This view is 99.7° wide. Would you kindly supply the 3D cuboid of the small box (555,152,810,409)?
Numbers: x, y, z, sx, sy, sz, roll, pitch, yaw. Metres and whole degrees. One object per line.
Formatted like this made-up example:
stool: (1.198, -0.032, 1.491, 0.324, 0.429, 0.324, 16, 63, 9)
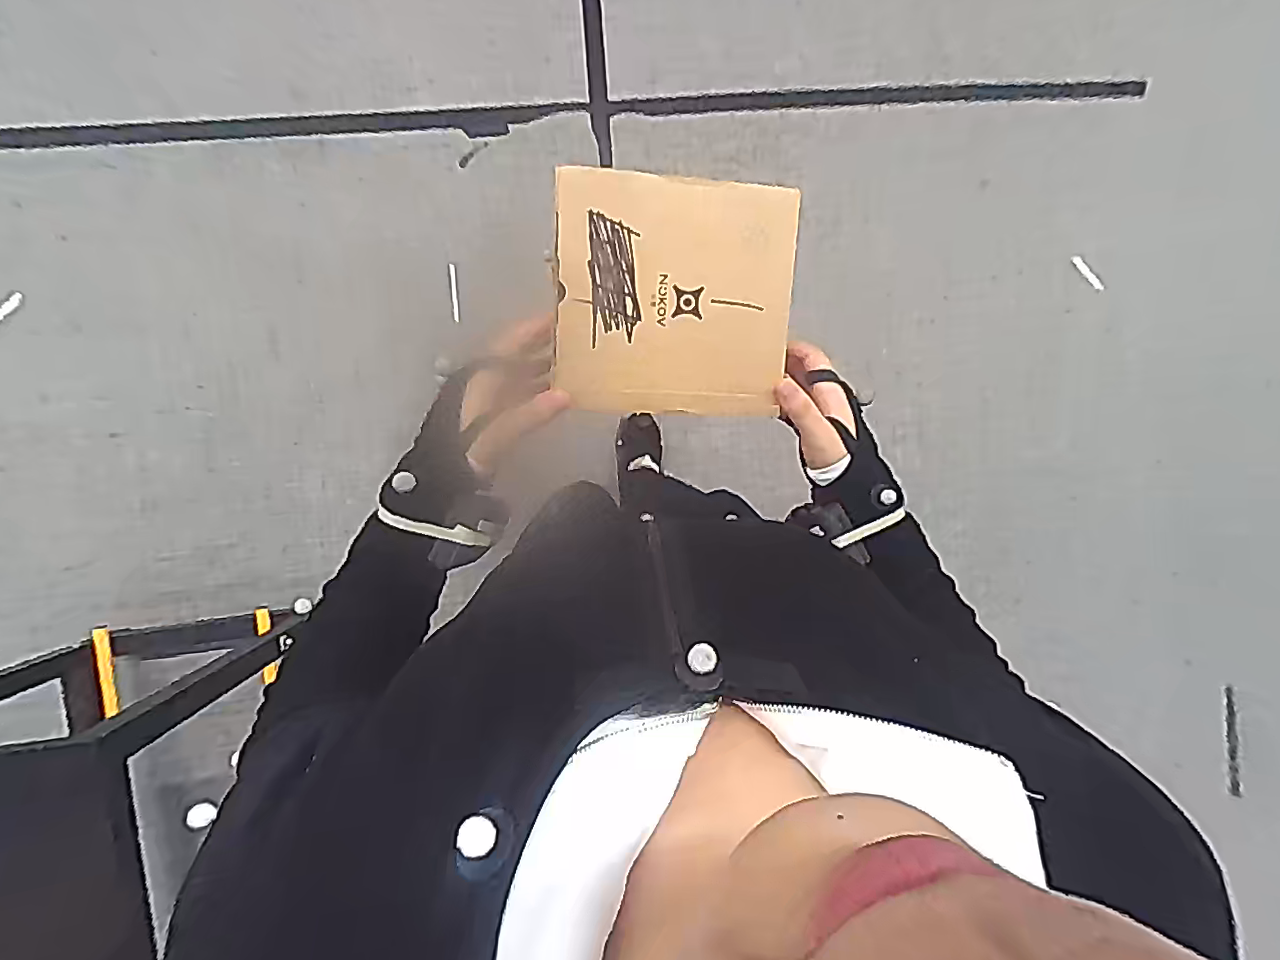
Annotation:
small box: (0.019, -0.149, 0.459, 0.179, 0.176, 0.168, 1, 101, -9)
